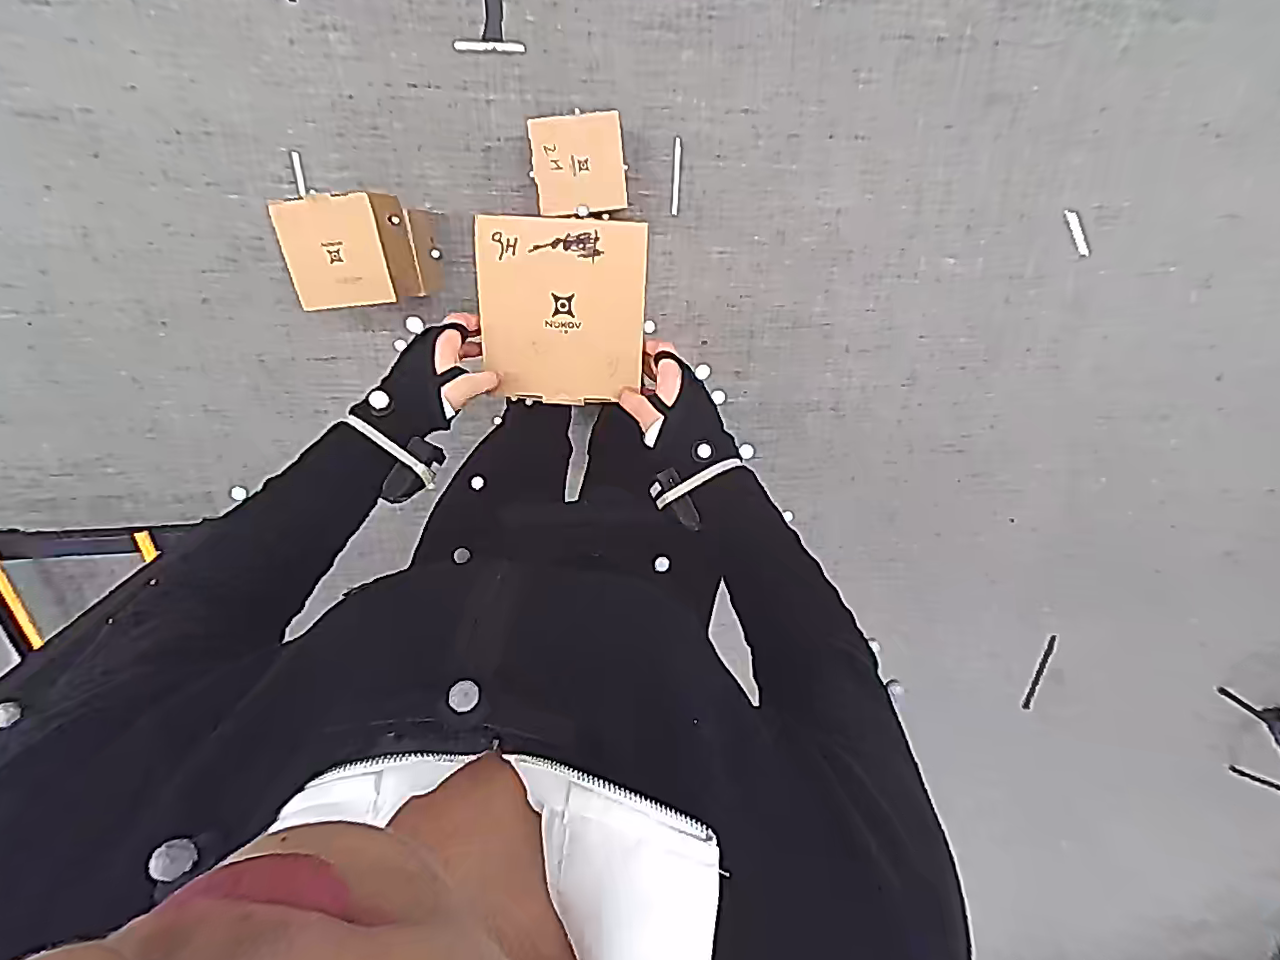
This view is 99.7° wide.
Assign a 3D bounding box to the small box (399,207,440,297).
[{"bbox_3d":[-0.539,-0.477,1.136,0.179,0.176,0.168,-4,116,-5],"label":"small box"}]

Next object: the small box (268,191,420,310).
[{"bbox_3d":[-0.523,-0.418,0.985,0.168,0.176,0.179,-7,117,-2],"label":"small box"}]

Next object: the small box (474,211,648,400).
[{"bbox_3d":[-0.078,-0.202,0.613,0.168,0.176,0.179,3,114,-1],"label":"small box"}]

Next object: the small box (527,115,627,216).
[{"bbox_3d":[-0.127,-0.635,1.109,0.179,0.176,0.168,-7,115,-3],"label":"small box"}]
